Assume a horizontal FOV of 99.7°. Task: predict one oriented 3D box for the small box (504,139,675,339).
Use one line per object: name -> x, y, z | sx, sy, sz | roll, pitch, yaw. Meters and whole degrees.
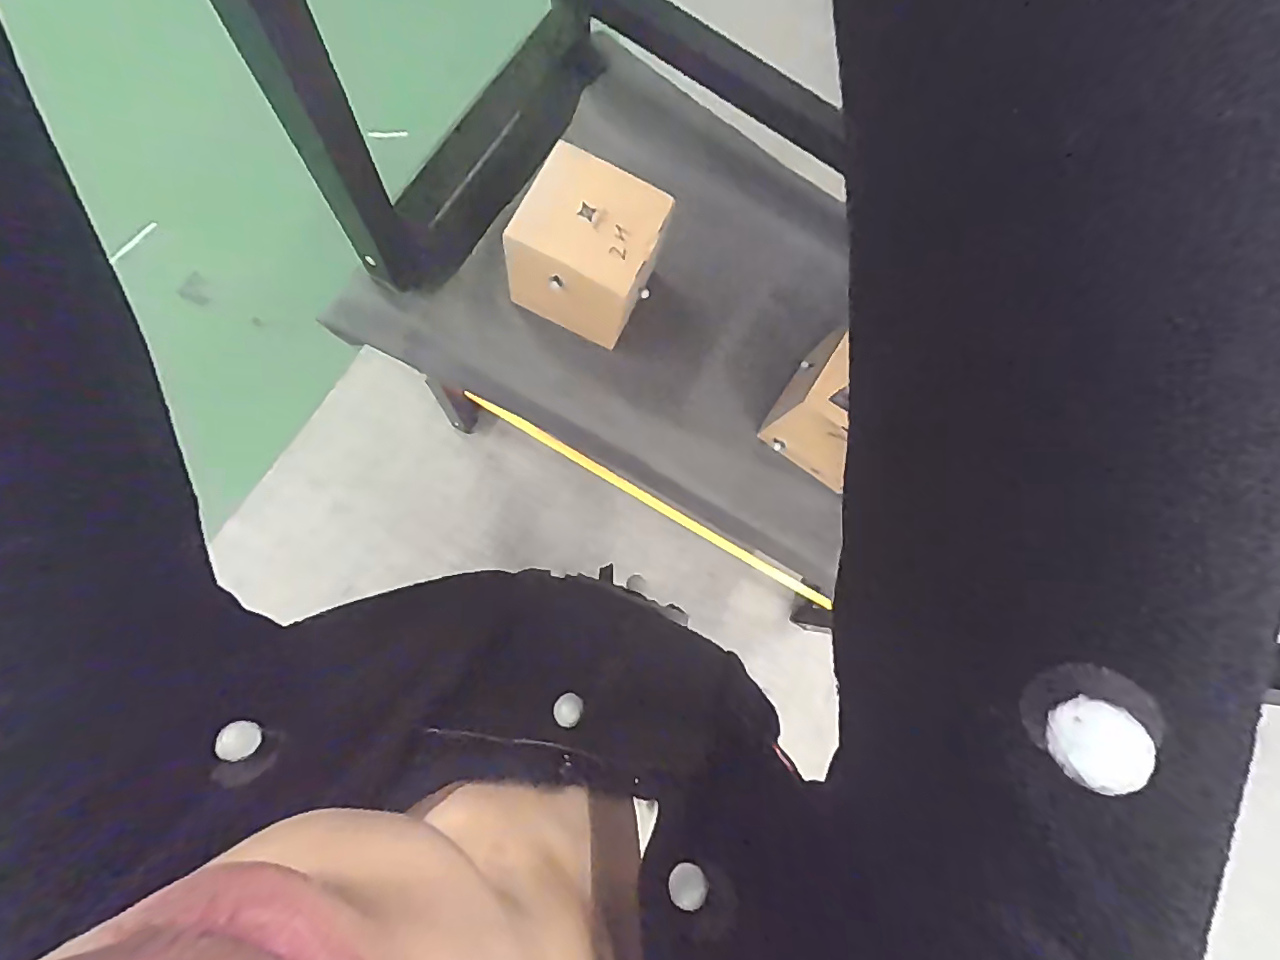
small box -> -0.076, -0.332, 0.782 | 0.179, 0.176, 0.168 | 26, 77, -5
